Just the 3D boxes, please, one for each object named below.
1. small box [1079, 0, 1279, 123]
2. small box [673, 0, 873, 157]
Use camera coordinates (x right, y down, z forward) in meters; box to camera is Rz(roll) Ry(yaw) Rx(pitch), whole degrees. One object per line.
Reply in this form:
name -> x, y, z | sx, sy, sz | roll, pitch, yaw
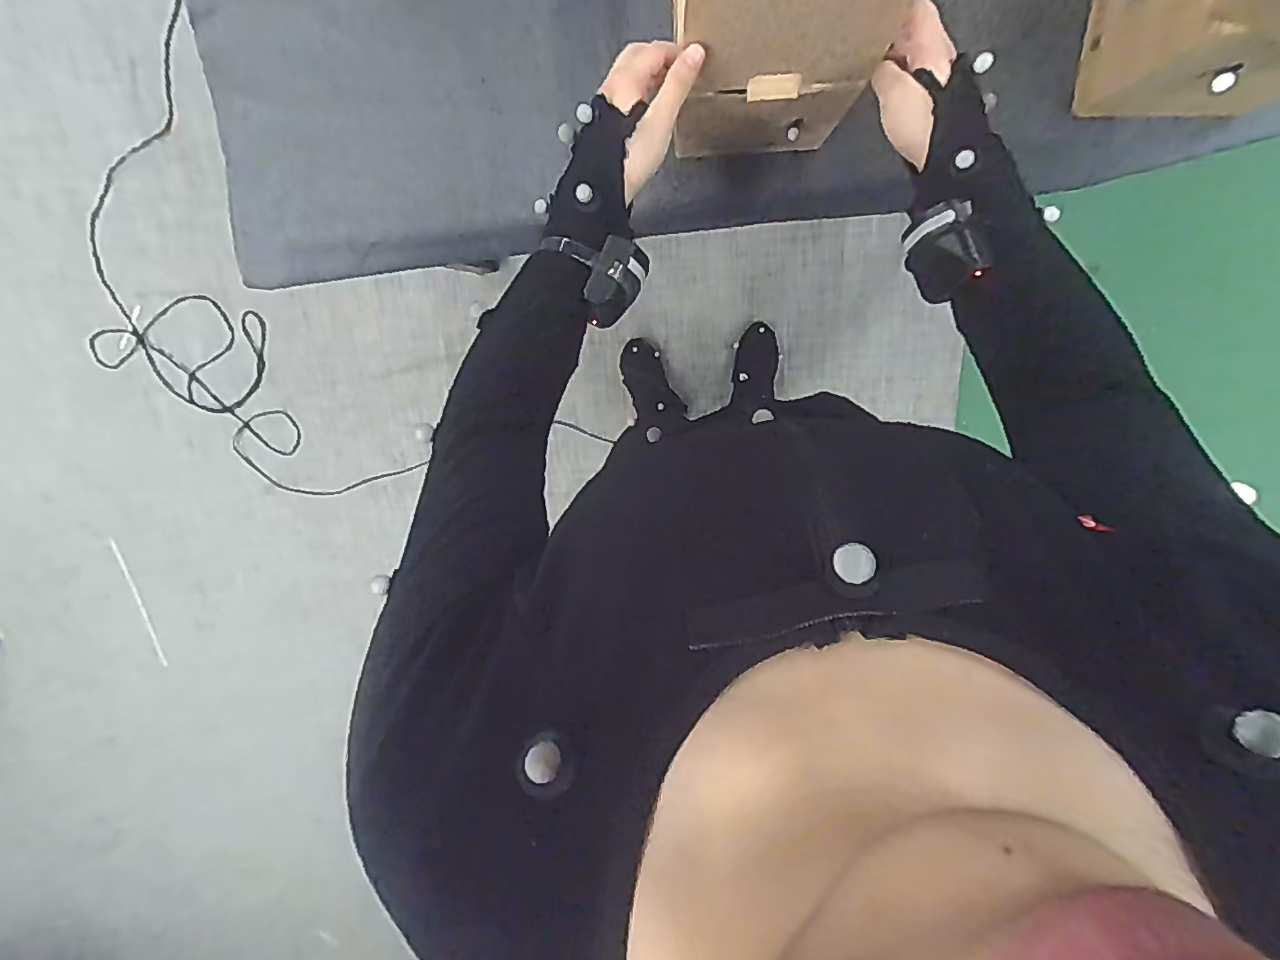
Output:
small box -> 0.552, -0.445, 0.487 | 0.179, 0.176, 0.168 | 2, 104, 5
small box -> 0.117, -0.434, 0.527 | 0.168, 0.176, 0.179 | -1, 104, 3
